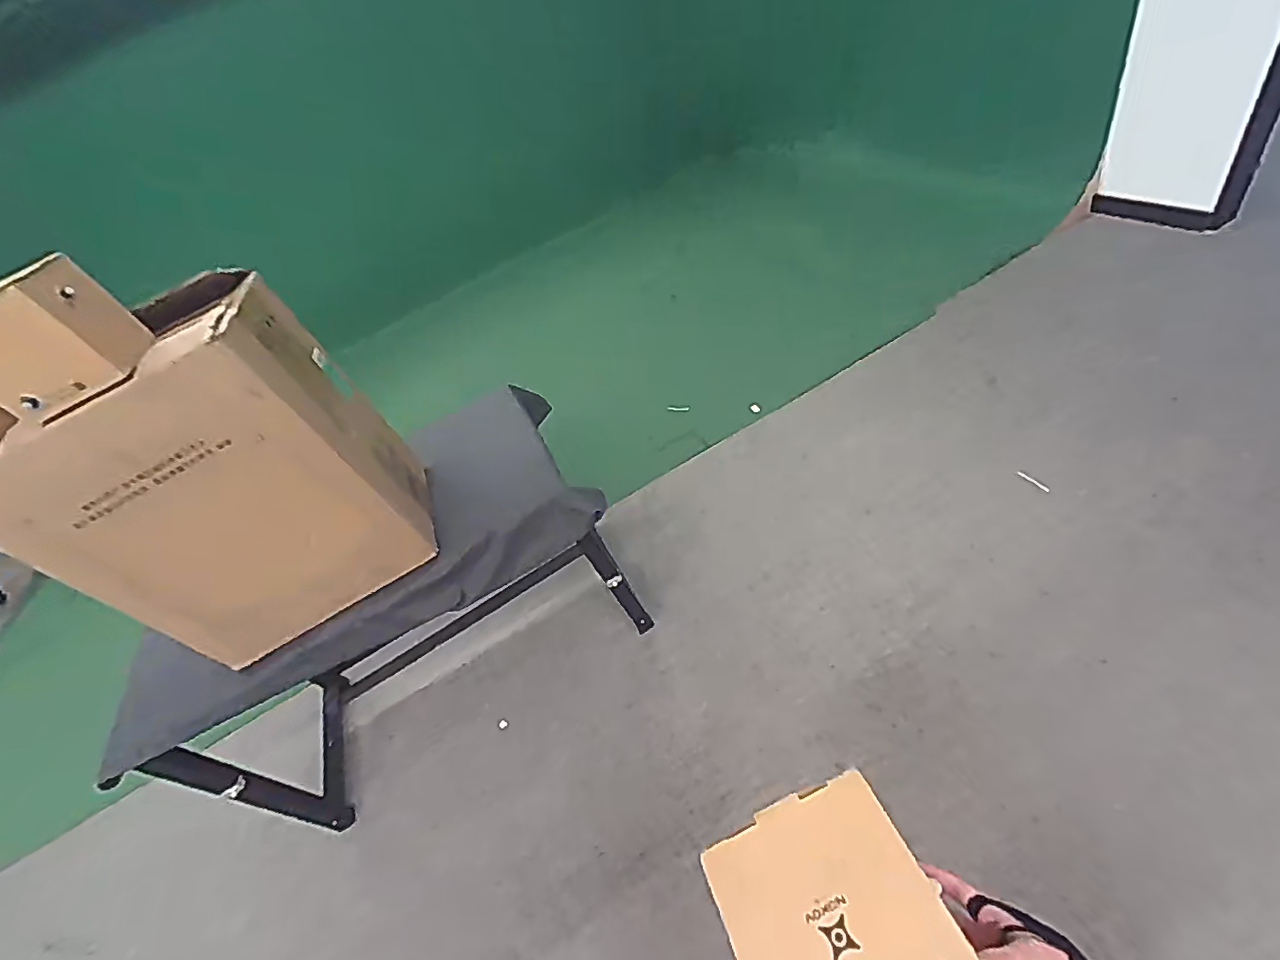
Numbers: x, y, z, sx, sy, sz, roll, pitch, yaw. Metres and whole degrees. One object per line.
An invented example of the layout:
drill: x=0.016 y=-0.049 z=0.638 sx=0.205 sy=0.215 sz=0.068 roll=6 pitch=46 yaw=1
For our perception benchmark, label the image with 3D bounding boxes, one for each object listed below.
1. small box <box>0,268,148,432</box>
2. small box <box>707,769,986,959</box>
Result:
small box: x=-0.943 y=-0.201 z=0.855 sx=0.168 sy=0.176 sz=0.179 roll=-30 pitch=41 yaw=-5
small box: x=0.184 y=0.401 z=0.478 sx=0.168 sy=0.176 sz=0.179 roll=-30 pitch=43 yaw=-1
